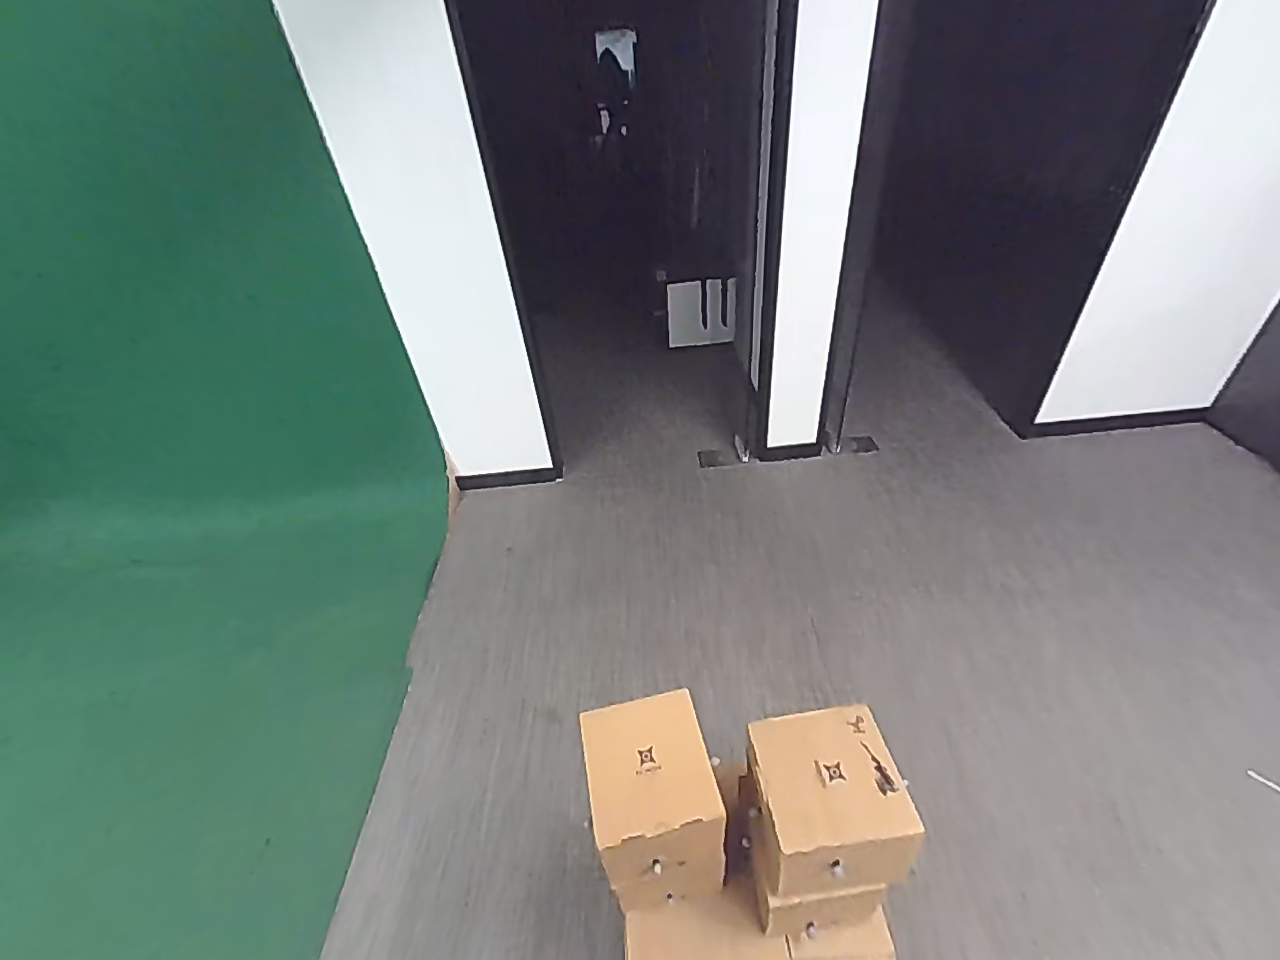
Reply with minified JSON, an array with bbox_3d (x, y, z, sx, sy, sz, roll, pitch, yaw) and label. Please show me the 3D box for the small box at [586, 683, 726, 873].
[{"bbox_3d":[0.018,0.432,0.789,0.168,0.176,0.179,-10,40,-6],"label":"small box"}]
